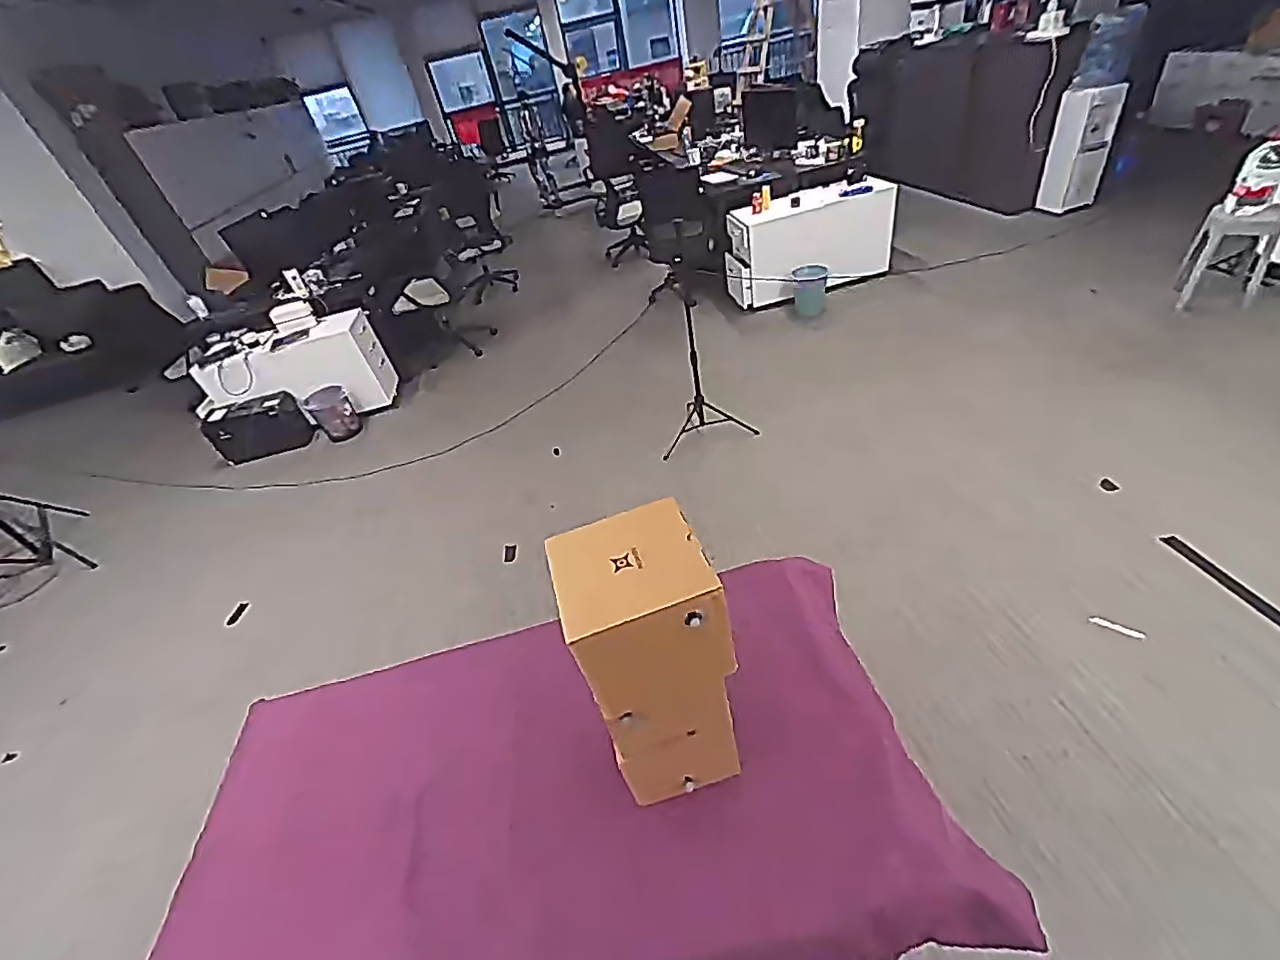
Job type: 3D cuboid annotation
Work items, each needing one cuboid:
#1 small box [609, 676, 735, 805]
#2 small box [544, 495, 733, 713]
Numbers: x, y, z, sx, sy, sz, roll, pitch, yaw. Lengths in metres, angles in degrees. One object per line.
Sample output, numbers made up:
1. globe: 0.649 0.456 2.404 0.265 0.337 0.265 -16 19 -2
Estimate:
1. small box: 0.048 0.393 0.881 0.179 0.176 0.168 -17 38 -4
2. small box: -0.001 0.152 0.663 0.179 0.176 0.168 -19 39 -6
